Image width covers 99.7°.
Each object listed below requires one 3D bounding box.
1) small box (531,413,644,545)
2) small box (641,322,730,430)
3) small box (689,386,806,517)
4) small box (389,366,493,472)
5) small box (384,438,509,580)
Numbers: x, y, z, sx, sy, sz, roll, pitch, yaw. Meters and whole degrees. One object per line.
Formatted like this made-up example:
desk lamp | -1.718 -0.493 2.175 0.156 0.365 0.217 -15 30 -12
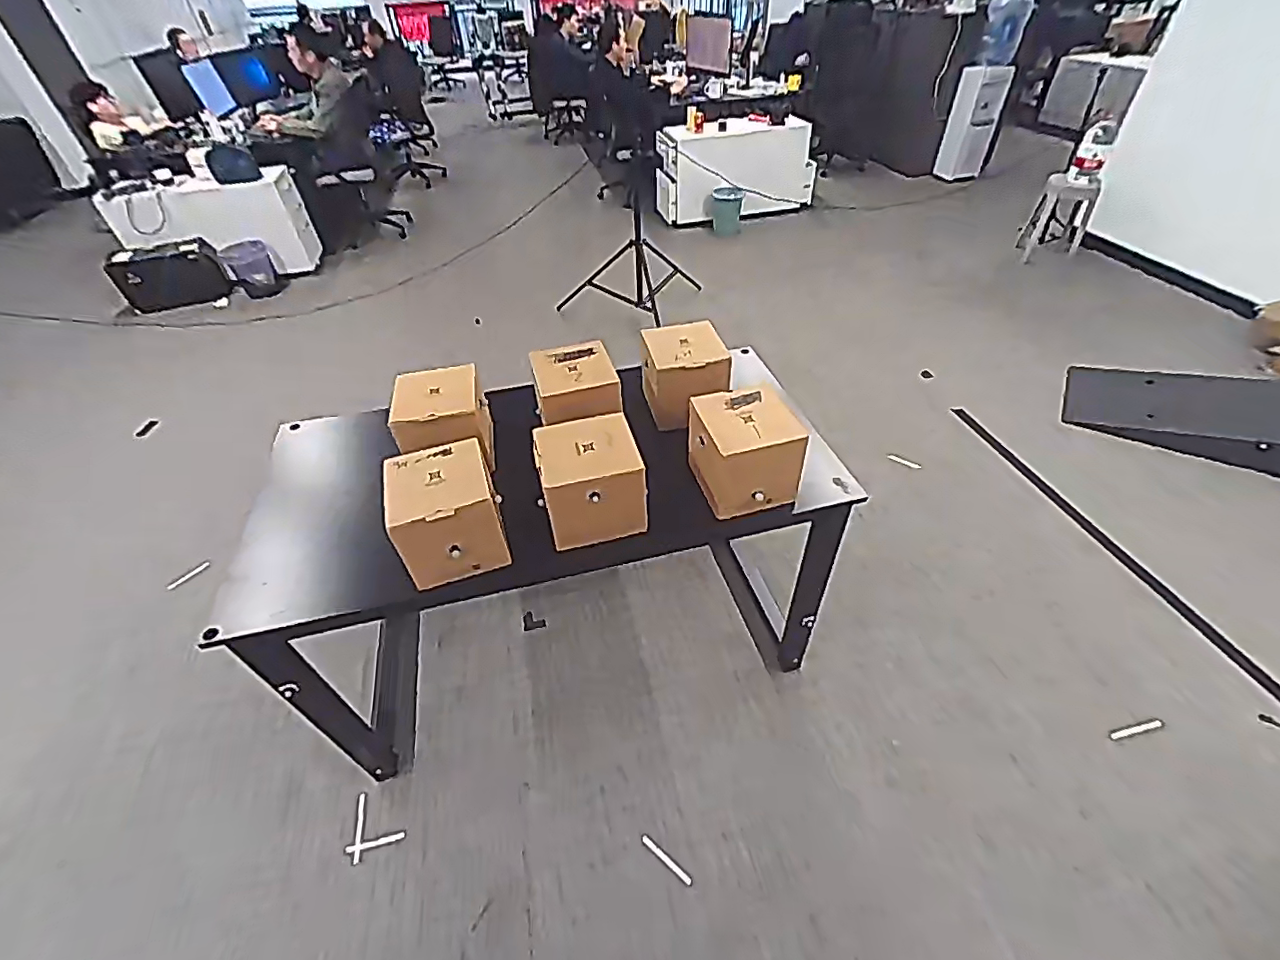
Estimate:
small box | -0.095 0.001 1.013 0.179 0.176 0.168 -12 45 -10
small box | 0.099 -0.241 1.251 0.168 0.176 0.179 -11 44 -6
small box | 0.196 -0.056 1.050 0.168 0.176 0.179 -13 44 -9
small box | -0.416 -0.119 1.159 0.168 0.176 0.179 -10 45 -7
small box | -0.343 0.057 0.967 0.168 0.176 0.179 -16 45 -13
